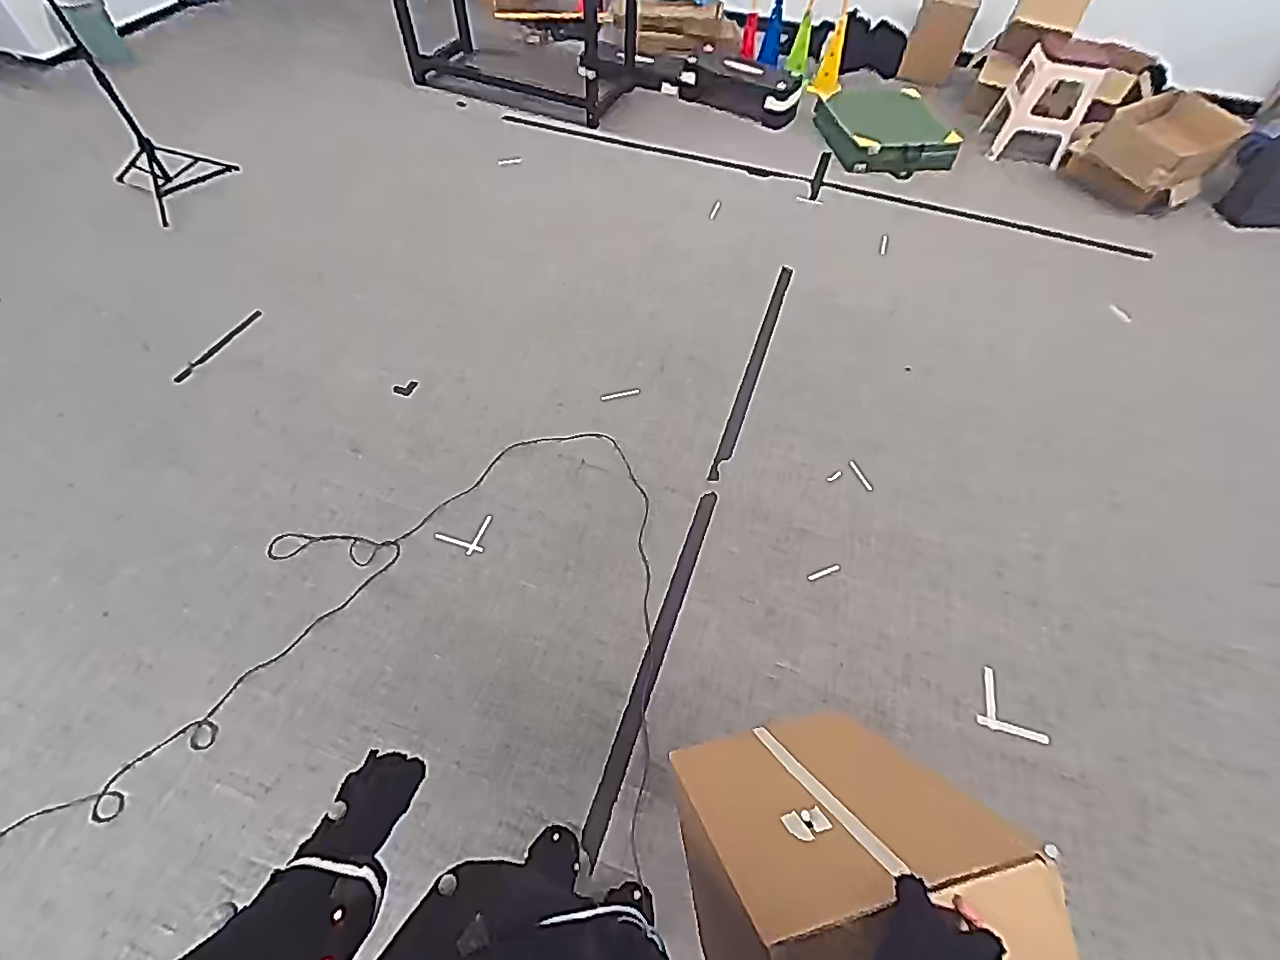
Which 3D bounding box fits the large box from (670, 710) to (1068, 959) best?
[{"bbox_3d":[0.255,0.558,0.708,0.320,0.408,0.320,-10,90,-11],"label":"large box"}]
